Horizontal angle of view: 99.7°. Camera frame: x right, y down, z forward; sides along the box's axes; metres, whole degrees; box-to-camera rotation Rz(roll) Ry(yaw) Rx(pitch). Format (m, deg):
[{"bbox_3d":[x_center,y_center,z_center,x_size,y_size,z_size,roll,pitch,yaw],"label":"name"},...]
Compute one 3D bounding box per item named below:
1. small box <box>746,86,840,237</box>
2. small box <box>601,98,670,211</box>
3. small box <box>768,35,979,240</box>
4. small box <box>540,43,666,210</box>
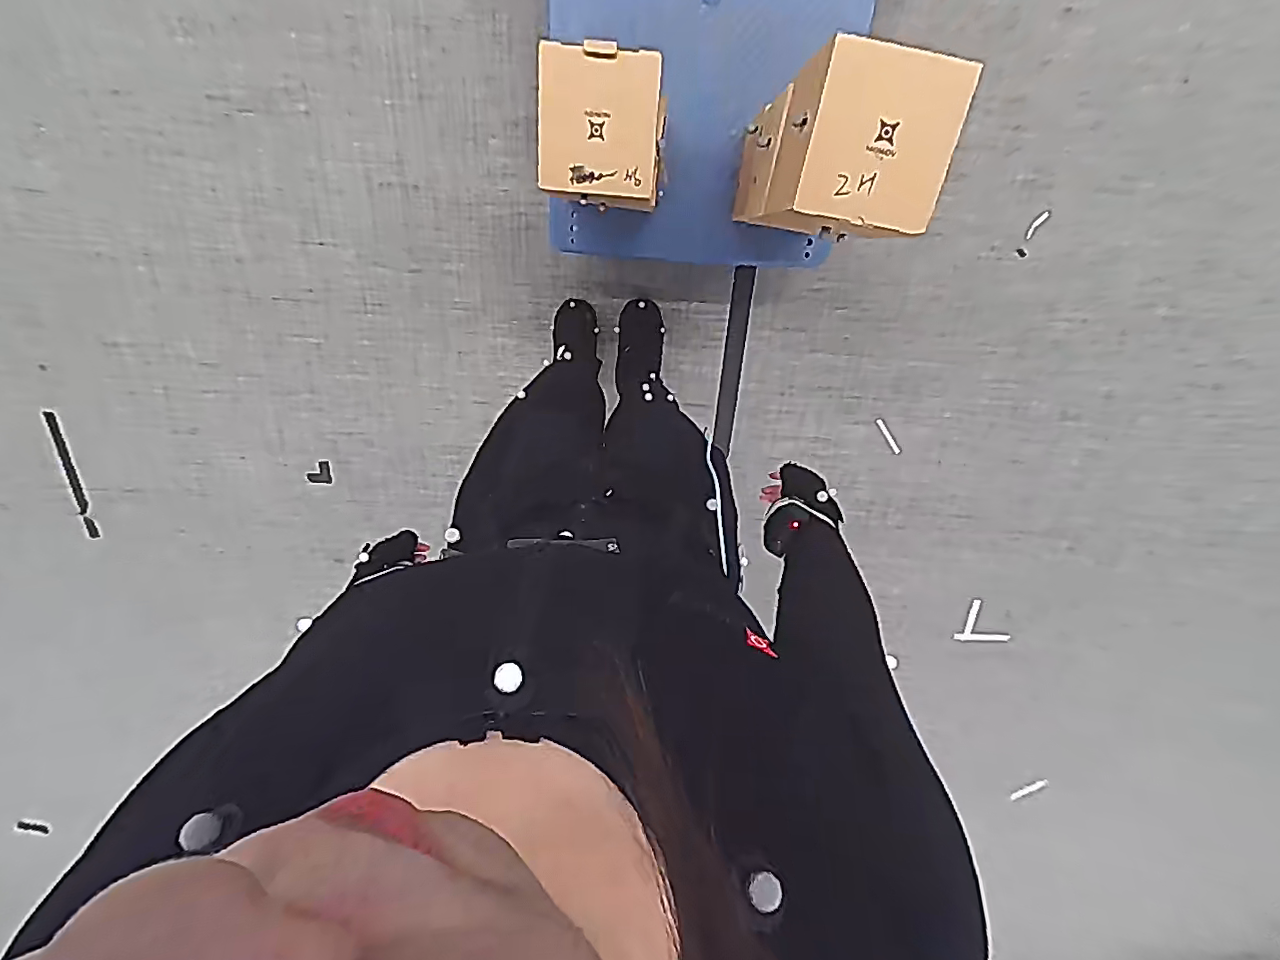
[{"bbox_3d":[0.274,-0.476,0.835,0.179,0.176,0.168,8,114,-4],"label":"small box"},{"bbox_3d":[-0.047,-0.585,0.969,0.179,0.176,0.168,8,114,-2],"label":"small box"},{"bbox_3d":[0.273,-0.412,0.683,0.168,0.176,0.179,10,114,-4],"label":"small box"},{"bbox_3d":[-0.054,-0.519,0.819,0.168,0.176,0.179,5,113,-1],"label":"small box"}]
